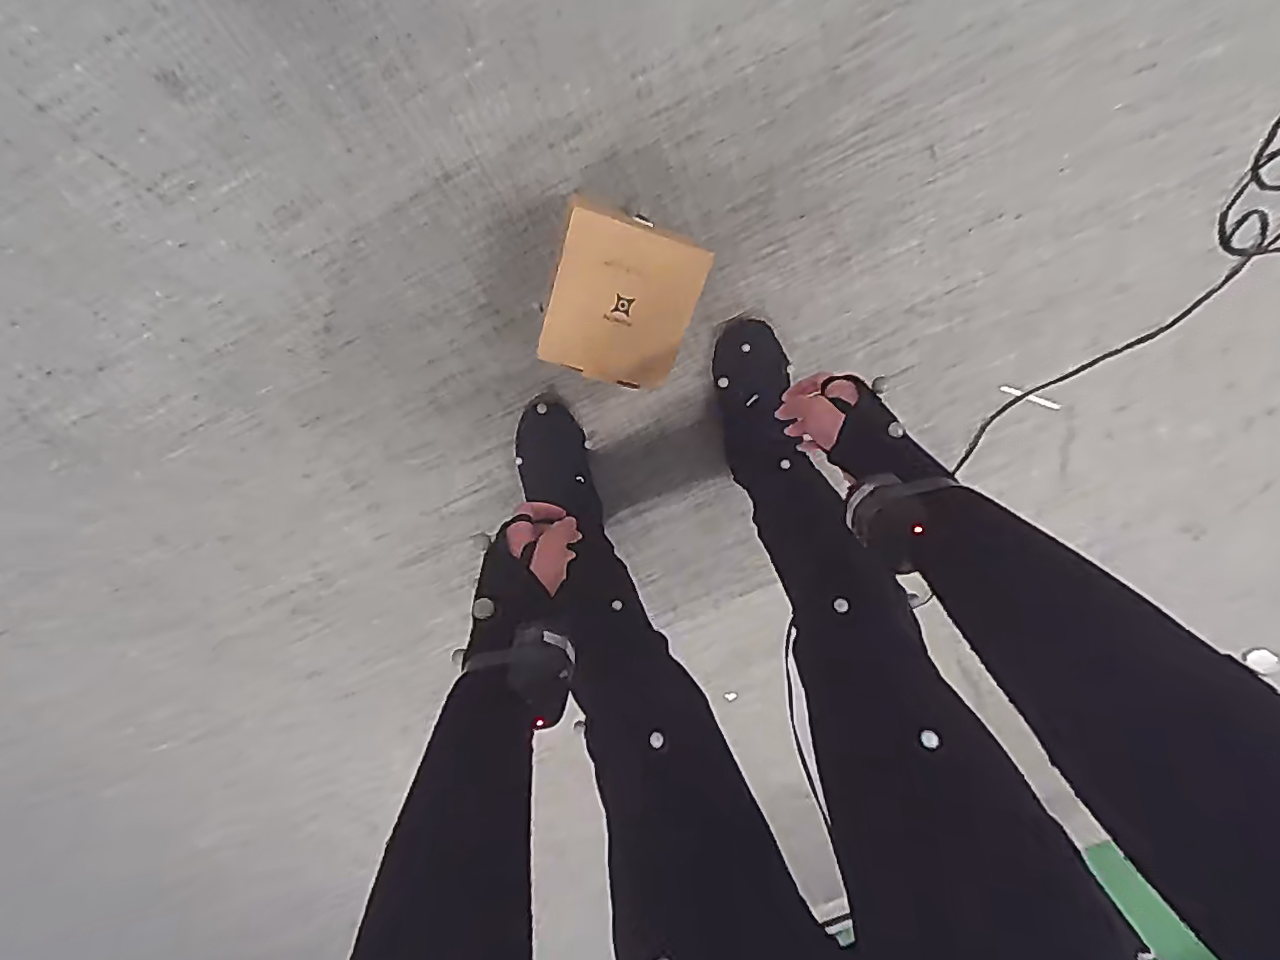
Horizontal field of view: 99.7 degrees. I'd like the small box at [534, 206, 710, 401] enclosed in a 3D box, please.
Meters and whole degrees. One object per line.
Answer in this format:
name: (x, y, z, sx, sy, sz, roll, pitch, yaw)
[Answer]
small box: (-0.033, -0.229, 0.693, 0.168, 0.176, 0.179, 12, 118, -17)
